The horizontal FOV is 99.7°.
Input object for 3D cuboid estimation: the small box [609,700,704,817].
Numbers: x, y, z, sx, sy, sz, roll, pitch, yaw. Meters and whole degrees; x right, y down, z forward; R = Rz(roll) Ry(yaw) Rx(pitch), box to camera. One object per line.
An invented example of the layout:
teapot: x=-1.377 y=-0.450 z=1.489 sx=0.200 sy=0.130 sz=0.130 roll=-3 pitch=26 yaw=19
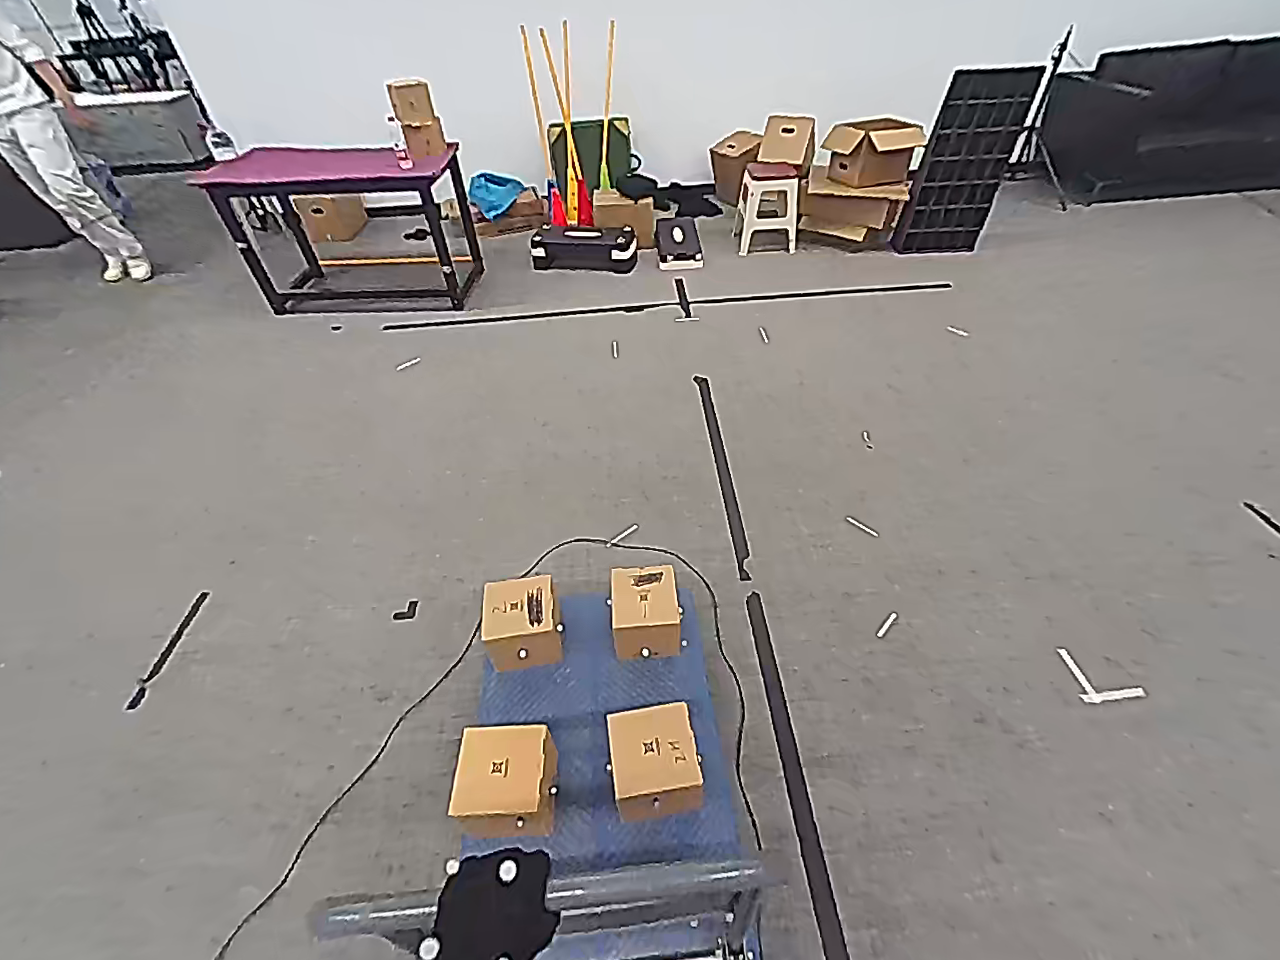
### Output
small box: x=0.034 y=0.597 z=1.154 sx=0.179 sy=0.176 sz=0.168 roll=-8 pitch=45 yaw=-4

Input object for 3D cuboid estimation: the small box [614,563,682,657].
small box: x=0.018 y=0.341 z=1.415 sx=0.168 sy=0.176 sz=0.179 roll=-4 pitch=46 yaw=-1

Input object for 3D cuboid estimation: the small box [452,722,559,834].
small box: x=-0.273 y=0.629 z=1.139 sx=0.179 sy=0.176 sz=0.168 roll=-2 pitch=44 yaw=-1
